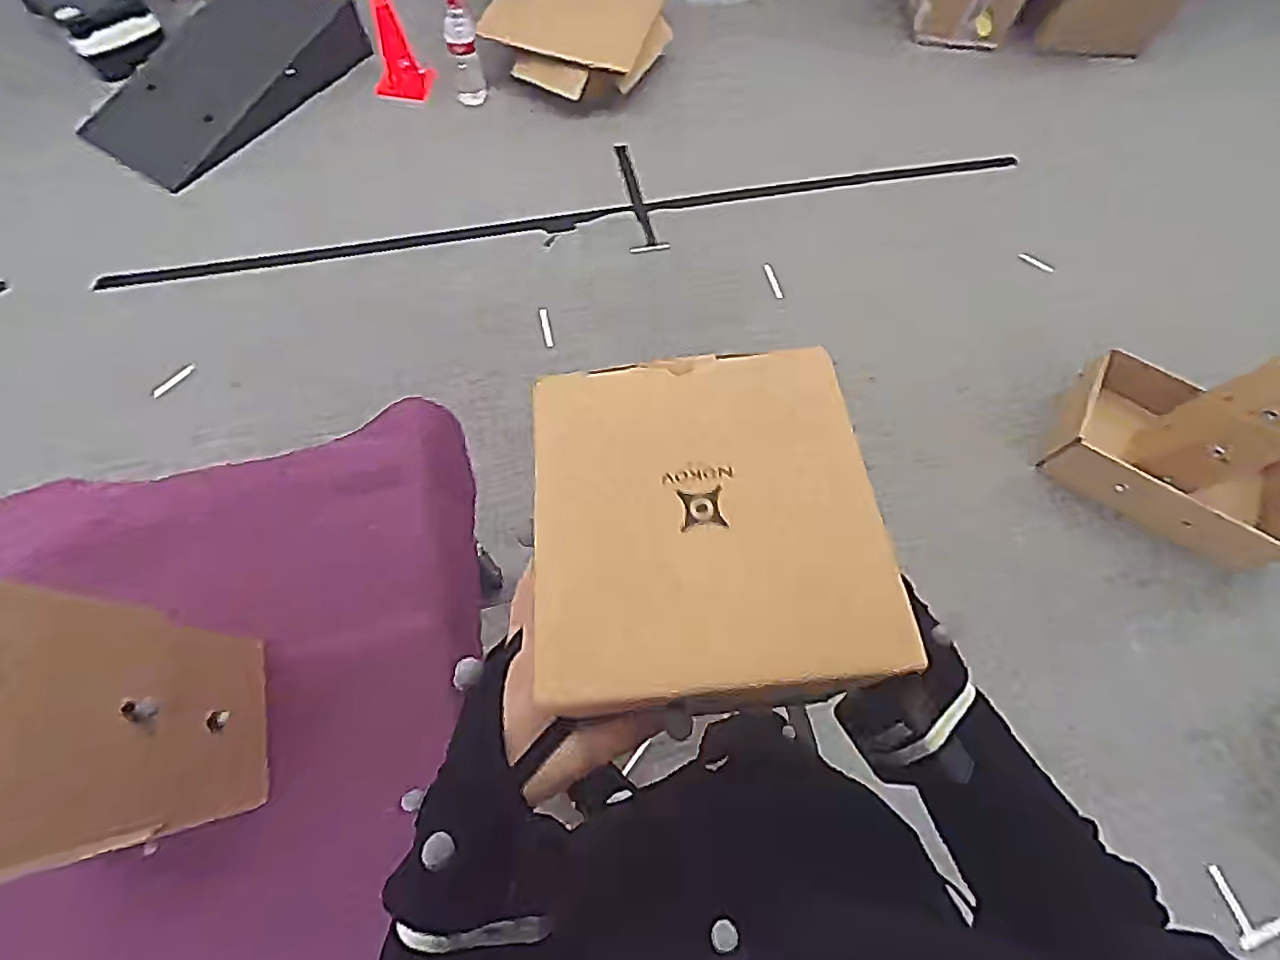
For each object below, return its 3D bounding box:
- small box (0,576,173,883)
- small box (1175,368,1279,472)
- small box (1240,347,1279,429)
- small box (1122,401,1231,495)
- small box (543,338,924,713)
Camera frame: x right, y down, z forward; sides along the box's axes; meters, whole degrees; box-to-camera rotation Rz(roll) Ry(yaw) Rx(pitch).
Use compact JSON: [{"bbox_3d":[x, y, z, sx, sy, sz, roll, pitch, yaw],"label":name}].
[{"bbox_3d":[-0.473,0.189,0.377,0.168,0.176,0.179,-16,69,-10],"label":"small box"},{"bbox_3d":[1.572,-0.153,1.418,0.168,0.176,0.179,32,69,11],"label":"small box"},{"bbox_3d":[1.584,-0.224,1.270,0.168,0.176,0.179,32,67,10],"label":"small box"},{"bbox_3d":[1.559,-0.088,1.566,0.168,0.176,0.179,34,69,11],"label":"small box"},{"bbox_3d":[0.039,0.042,0.338,0.168,0.176,0.179,-6,60,1],"label":"small box"}]
